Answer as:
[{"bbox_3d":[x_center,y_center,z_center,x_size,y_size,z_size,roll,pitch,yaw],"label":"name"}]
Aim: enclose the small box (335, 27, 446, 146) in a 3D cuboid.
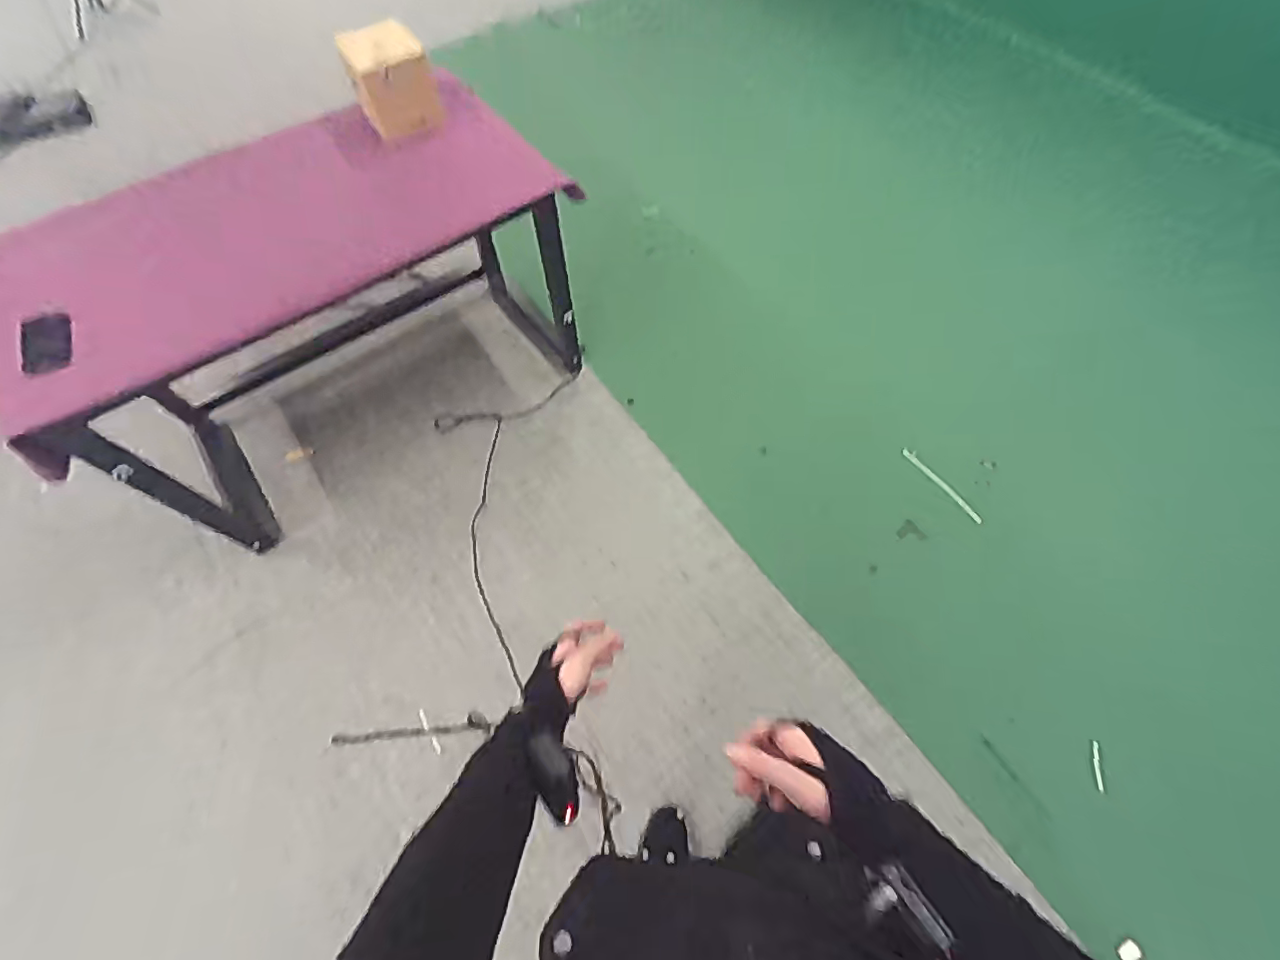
[{"bbox_3d":[-0.615,-0.976,1.346,0.168,0.176,0.179,-32,66,-14],"label":"small box"}]
